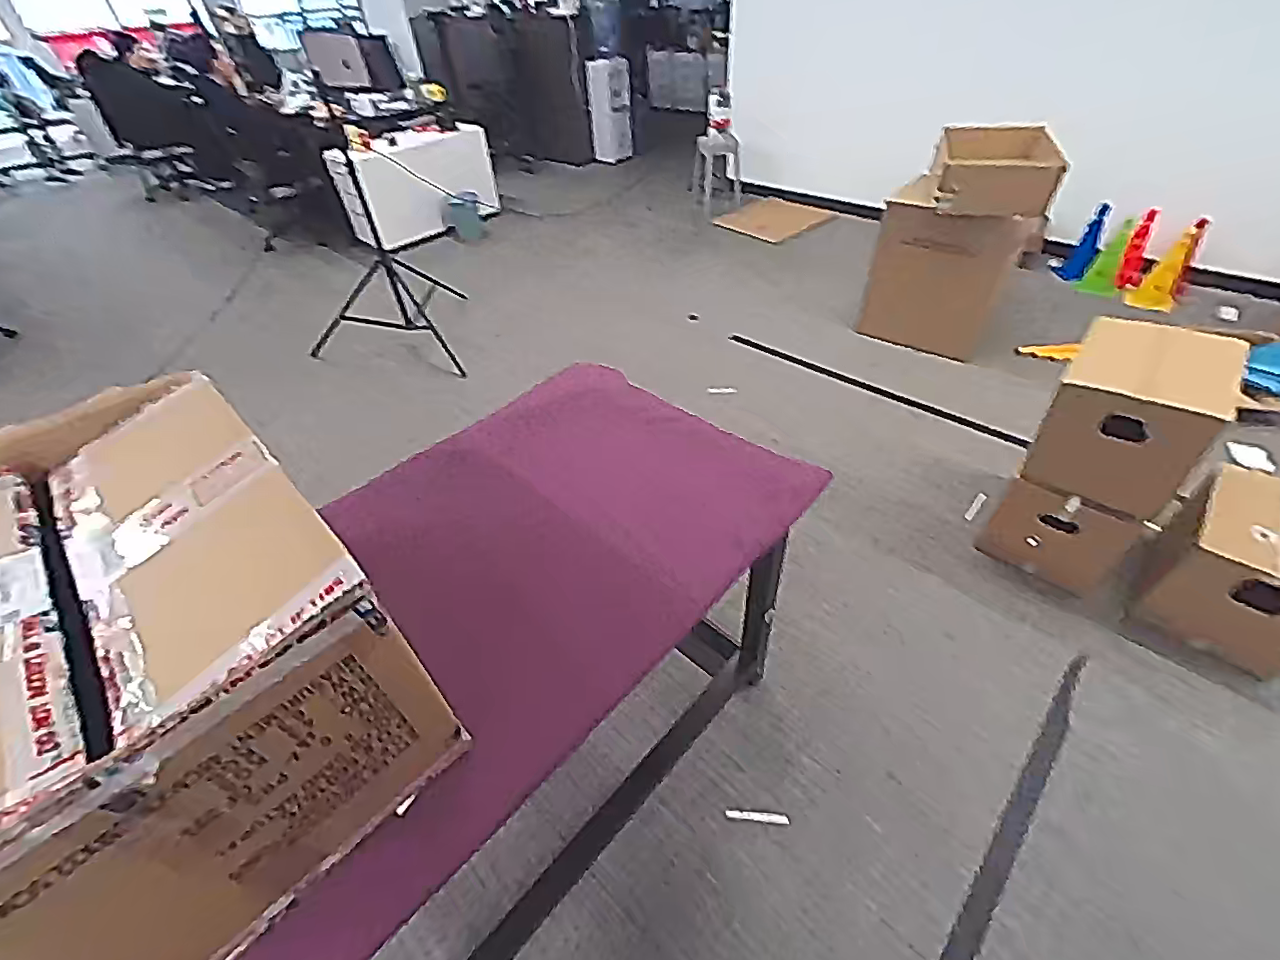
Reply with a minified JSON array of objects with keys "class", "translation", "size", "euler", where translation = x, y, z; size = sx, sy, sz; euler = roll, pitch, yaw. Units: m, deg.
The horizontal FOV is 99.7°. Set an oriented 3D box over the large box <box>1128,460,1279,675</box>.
[{"class":"large box","translation":[1.605,0.223,1.445],"size":[0.320,0.320,0.408],"euler":[29,54,31]}]
